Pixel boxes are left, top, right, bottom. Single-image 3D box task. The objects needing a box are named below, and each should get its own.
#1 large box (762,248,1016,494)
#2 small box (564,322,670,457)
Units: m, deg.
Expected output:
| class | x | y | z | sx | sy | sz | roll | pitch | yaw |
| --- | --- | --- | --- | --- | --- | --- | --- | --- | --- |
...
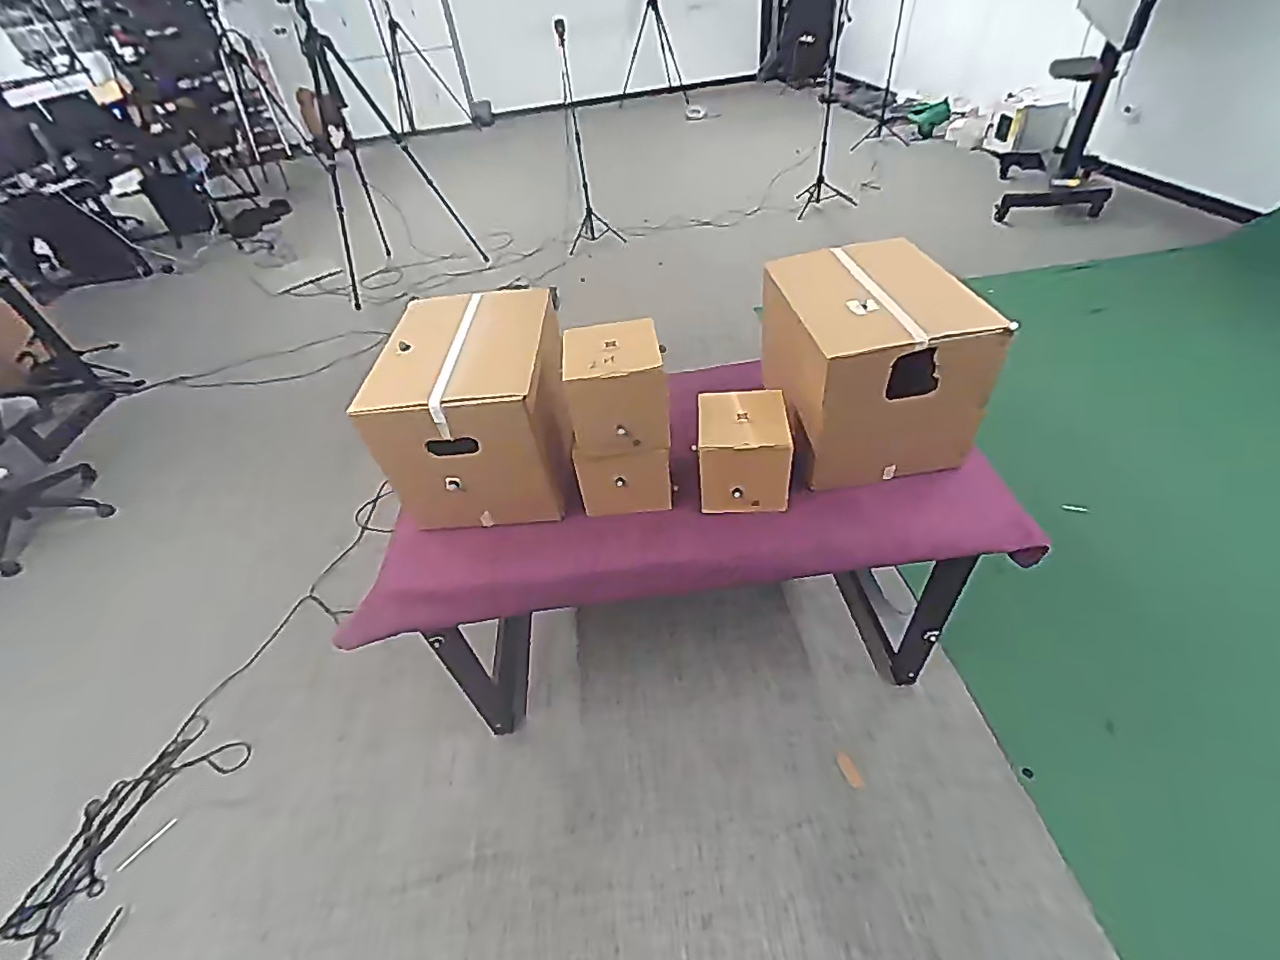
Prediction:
| class | x | y | z | sx | sy | sz | roll | pitch | yaw |
| --- | --- | --- | --- | --- | --- | --- | --- | --- | --- |
| large box | 0.459 | -0.234 | 1.123 | 0.320 | 0.320 | 0.408 | -10 | 44 | 2 |
| small box | -0.039 | -0.164 | 0.983 | 0.168 | 0.176 | 0.179 | -8 | 43 | 1 |
